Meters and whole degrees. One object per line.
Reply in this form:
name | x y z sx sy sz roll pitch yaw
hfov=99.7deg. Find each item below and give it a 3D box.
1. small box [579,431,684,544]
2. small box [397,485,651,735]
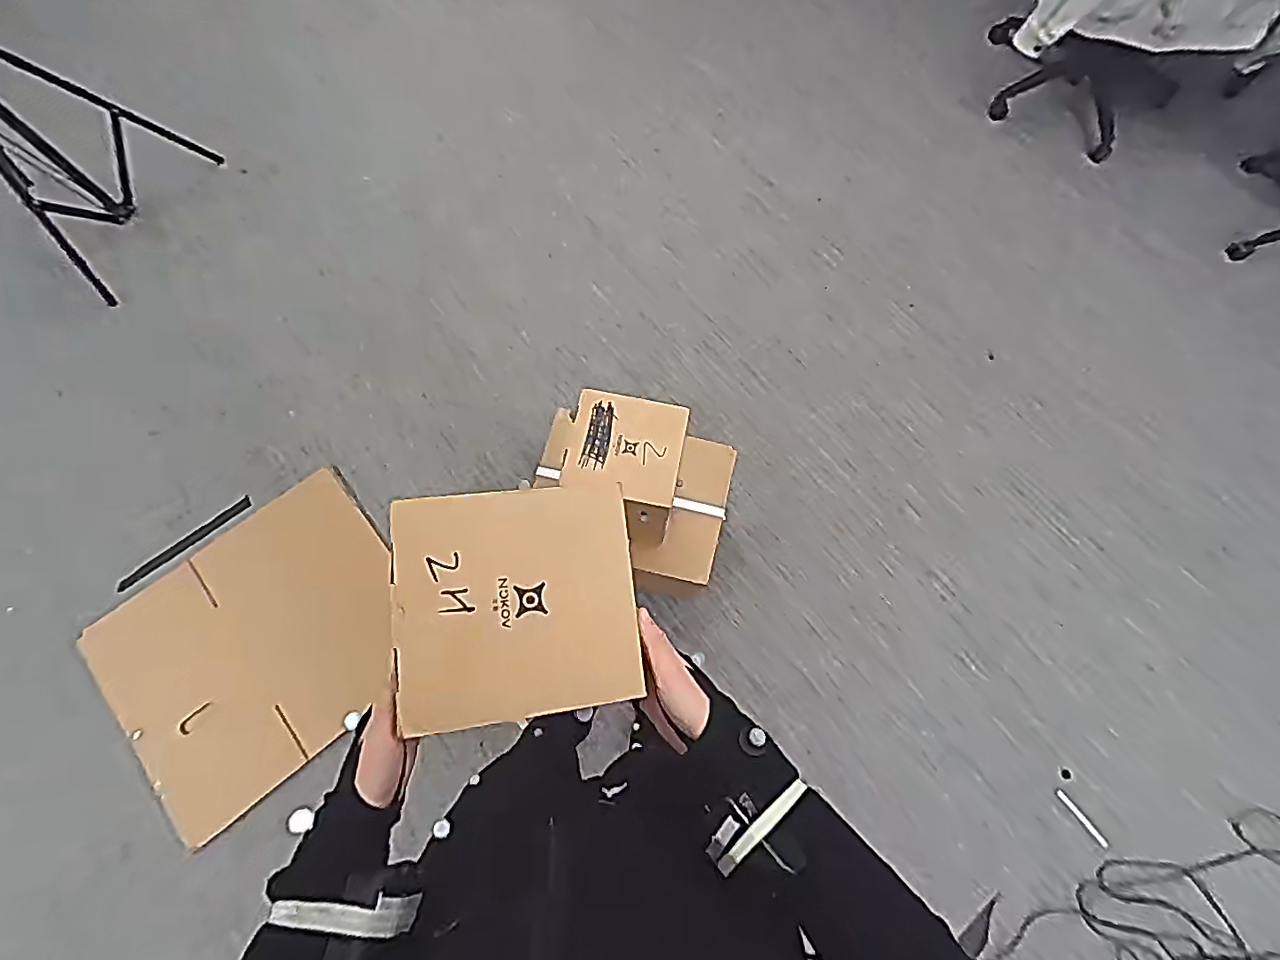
small box | -0.020 0.022 1.056 0.179 0.176 0.168 11 74 2
small box | -0.101 0.103 0.474 0.179 0.176 0.168 -5 79 -13
